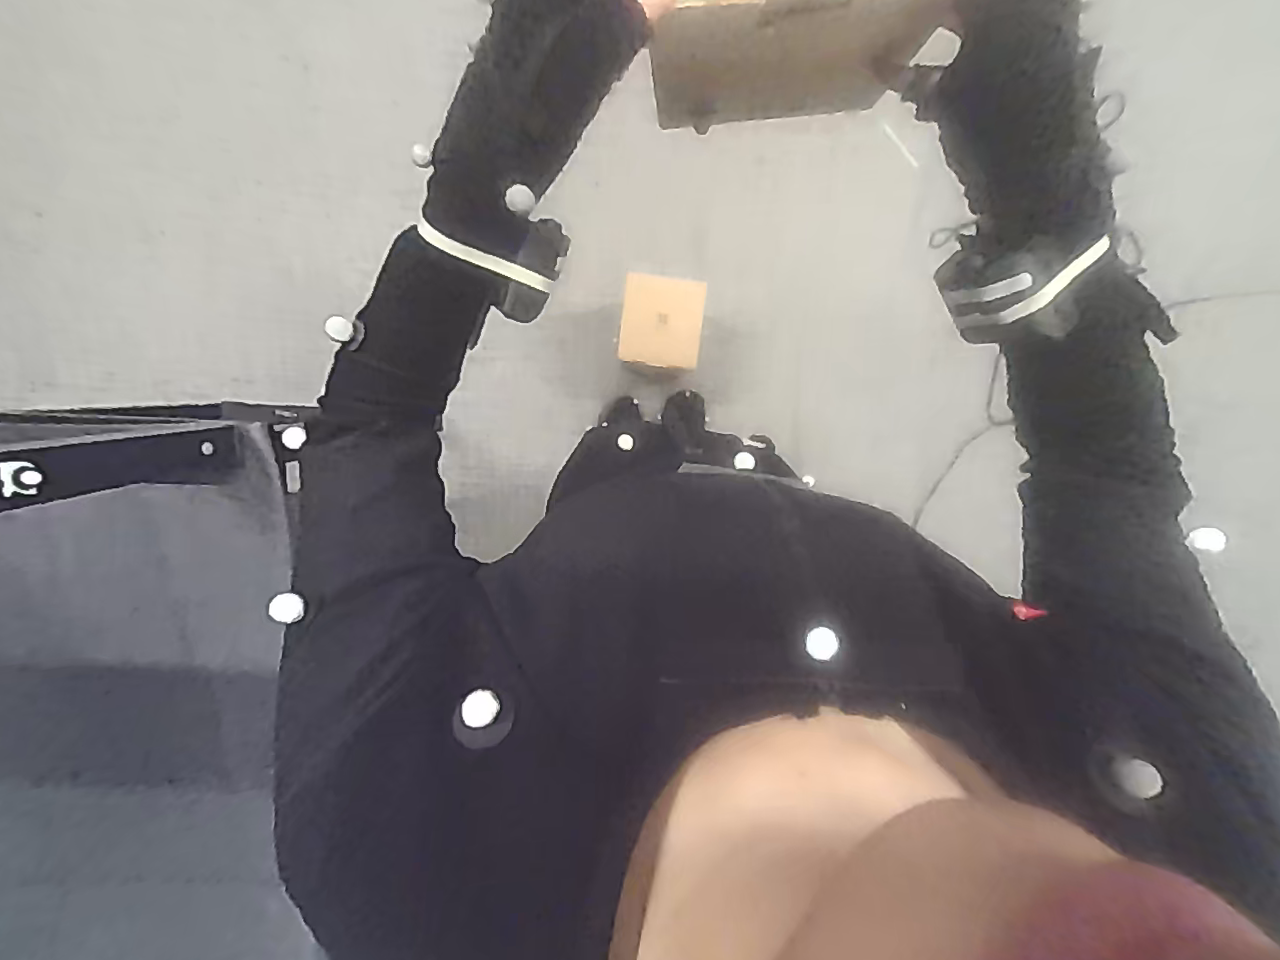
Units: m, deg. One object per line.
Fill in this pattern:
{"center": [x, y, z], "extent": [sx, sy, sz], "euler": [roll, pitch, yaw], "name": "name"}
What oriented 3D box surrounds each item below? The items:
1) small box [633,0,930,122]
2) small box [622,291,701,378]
{"center": [0.081, -0.342, 0.327], "extent": [0.168, 0.176, 0.179], "euler": [-2, 103, 5], "name": "small box"}
{"center": [0.047, -0.355, 1.344], "extent": [0.168, 0.176, 0.179], "euler": [9, 99, -1], "name": "small box"}
